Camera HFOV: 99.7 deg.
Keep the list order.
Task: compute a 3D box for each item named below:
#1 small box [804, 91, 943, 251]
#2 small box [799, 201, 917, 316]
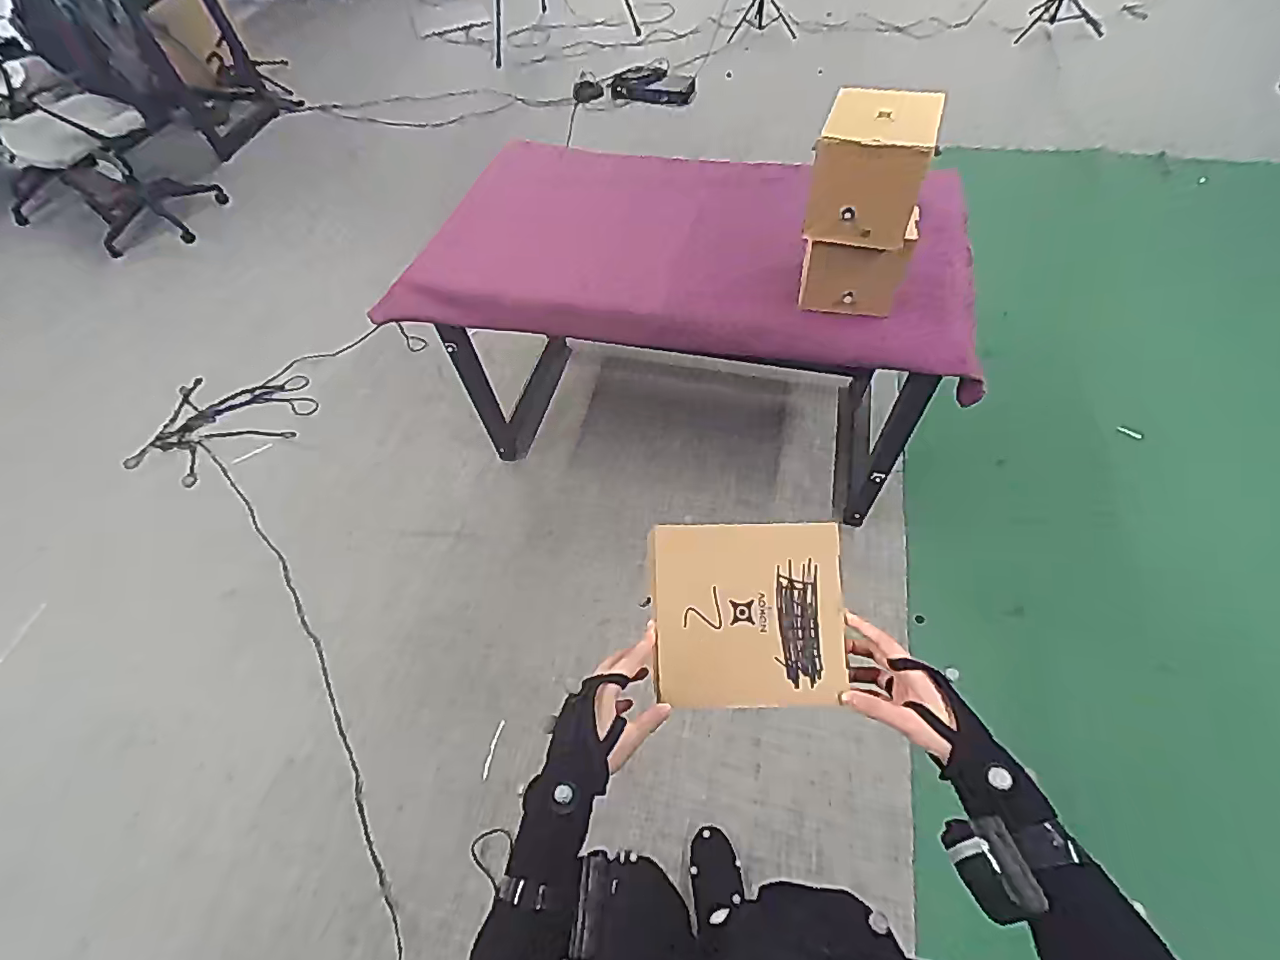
[{"bbox_3d":[0.383,-0.517,0.907,0.168,0.176,0.179,15,60,17],"label":"small box"},{"bbox_3d":[0.416,-0.439,1.048,0.179,0.176,0.168,9,56,12],"label":"small box"}]
